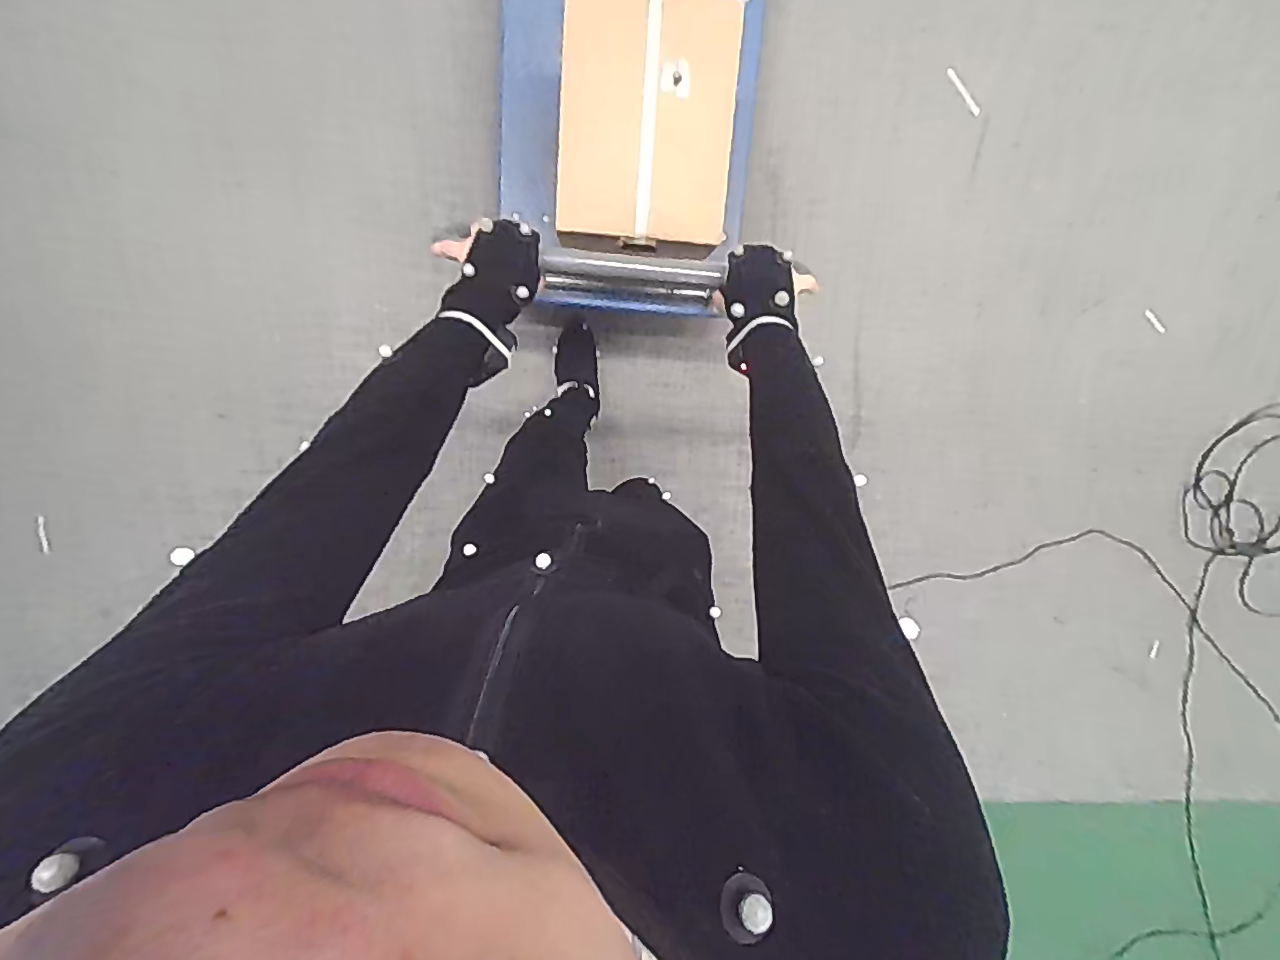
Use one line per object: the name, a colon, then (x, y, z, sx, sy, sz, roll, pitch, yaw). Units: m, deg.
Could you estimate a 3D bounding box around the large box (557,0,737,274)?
large box: (0.001, -0.671, 1.125, 0.320, 0.320, 0.408, 3, 100, -5)
